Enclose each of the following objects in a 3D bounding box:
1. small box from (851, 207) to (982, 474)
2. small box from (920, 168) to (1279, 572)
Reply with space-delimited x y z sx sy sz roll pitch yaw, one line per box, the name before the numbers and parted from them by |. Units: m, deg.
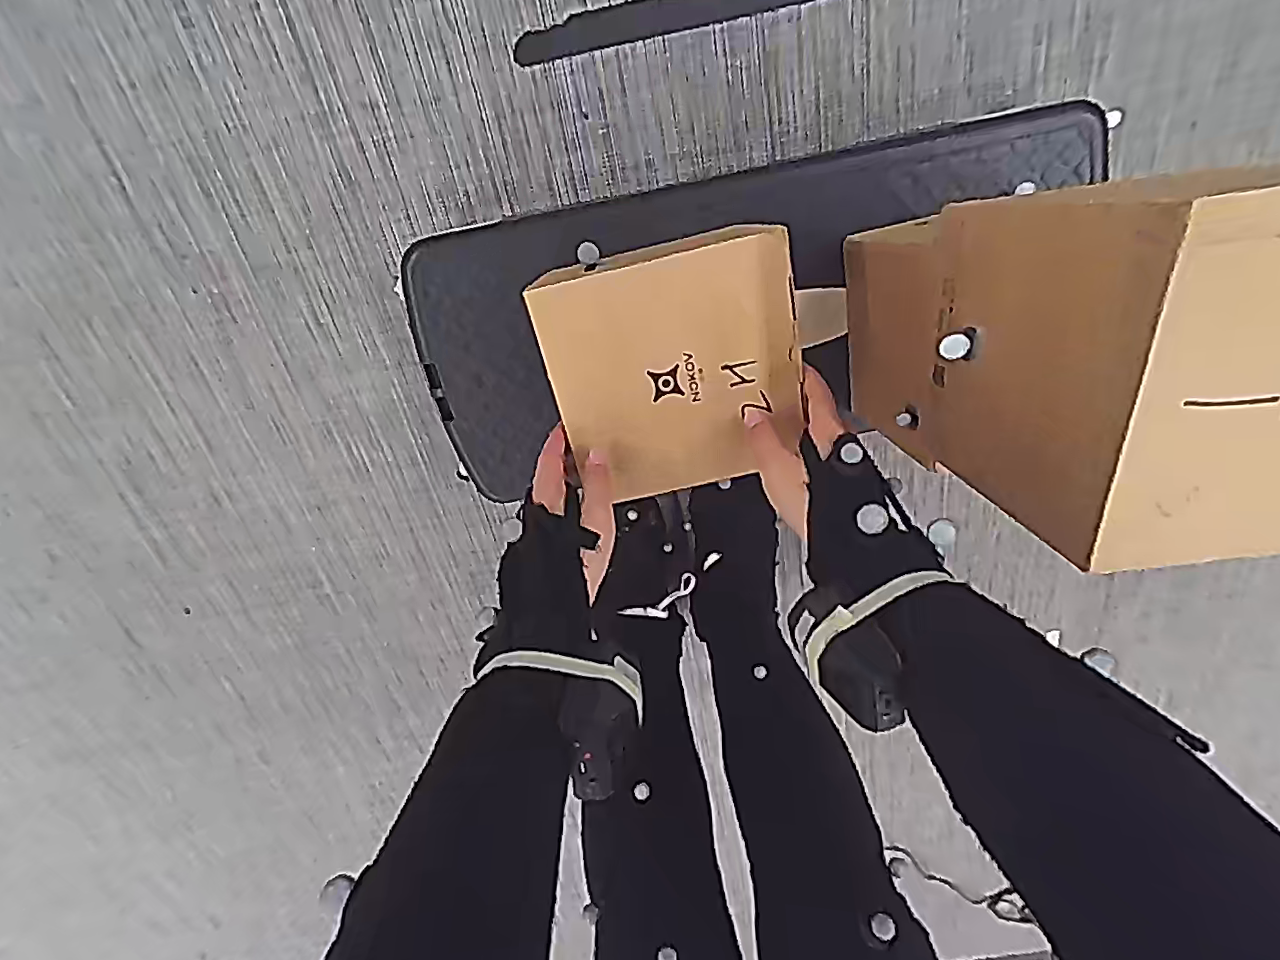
small box | 0.290 -0.130 0.452 0.168 0.176 0.179 -12 116 3
small box | 0.290 -0.073 0.297 0.179 0.176 0.168 -7 115 1
